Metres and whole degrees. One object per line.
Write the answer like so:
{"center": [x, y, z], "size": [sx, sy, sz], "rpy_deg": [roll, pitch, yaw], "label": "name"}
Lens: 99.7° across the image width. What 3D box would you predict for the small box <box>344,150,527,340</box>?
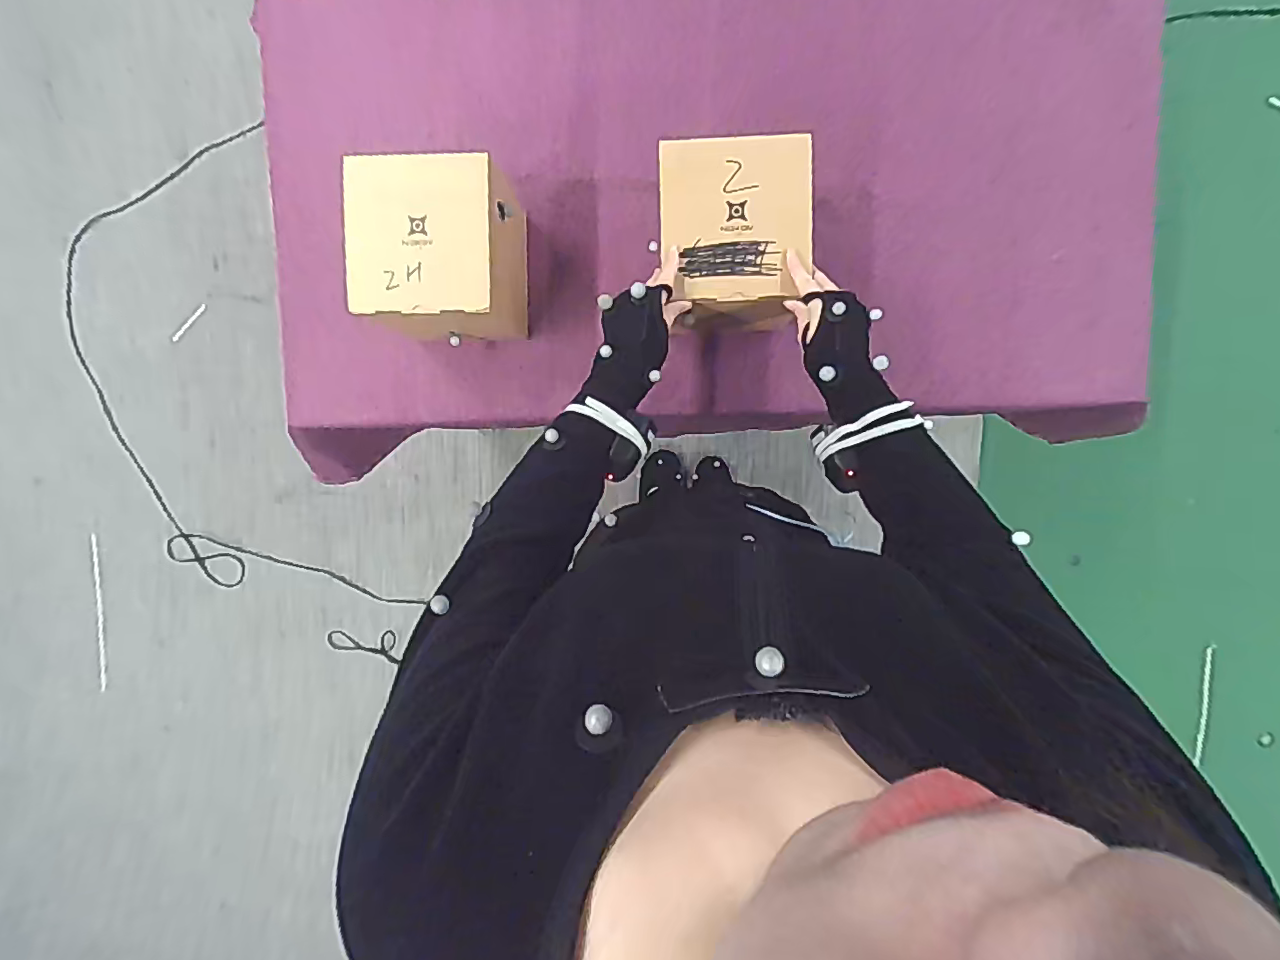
{"center": [-0.245, -0.282, 0.681], "size": [0.168, 0.176, 0.179], "rpy_deg": [0, 94, 3], "label": "small box"}
